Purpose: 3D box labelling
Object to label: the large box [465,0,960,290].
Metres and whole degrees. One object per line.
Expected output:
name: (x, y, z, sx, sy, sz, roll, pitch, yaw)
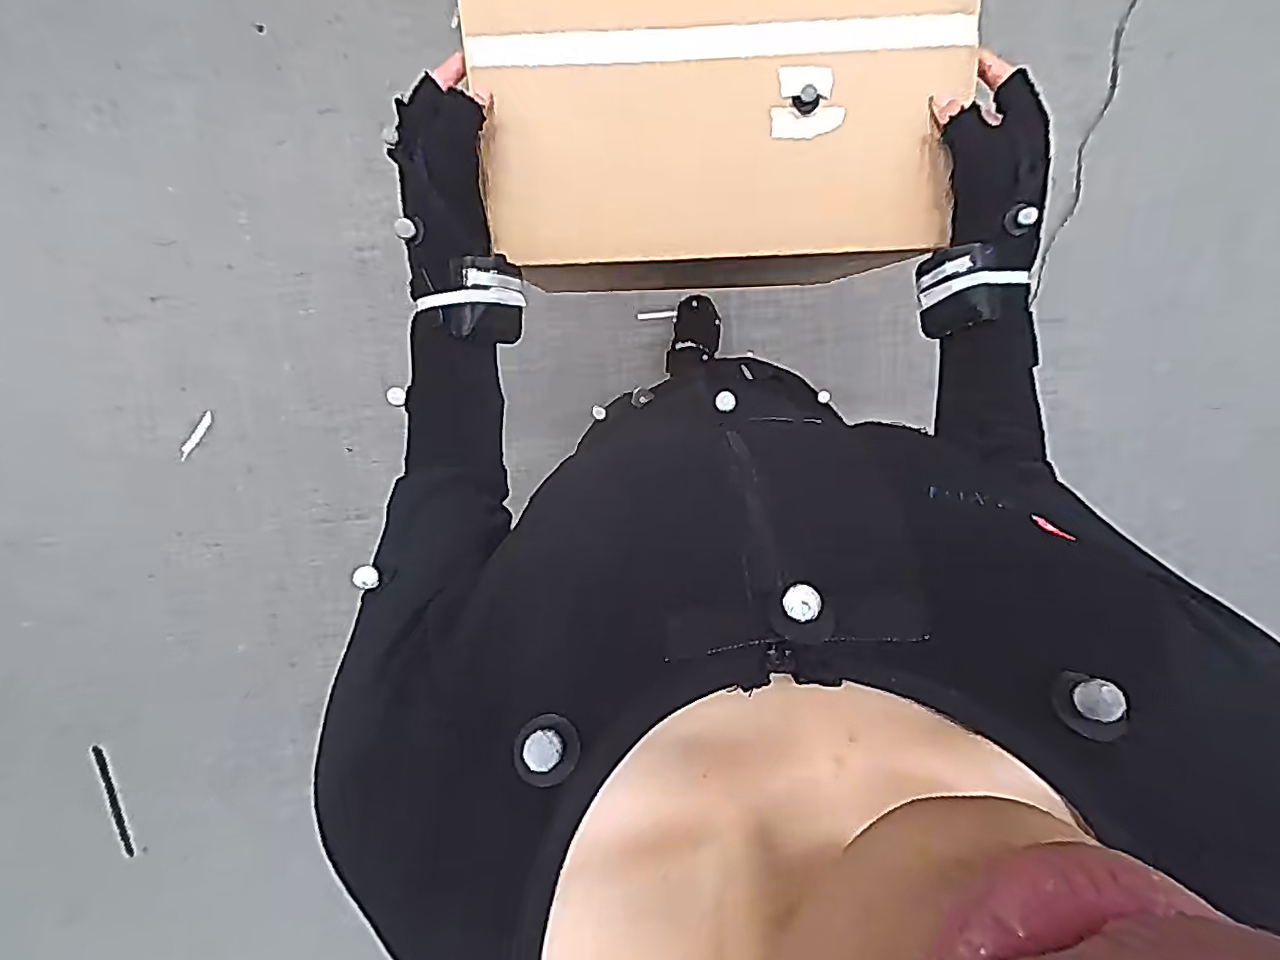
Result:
large box: (0.056, -0.393, 0.582, 0.408, 0.320, 0.320, -3, 105, -1)
